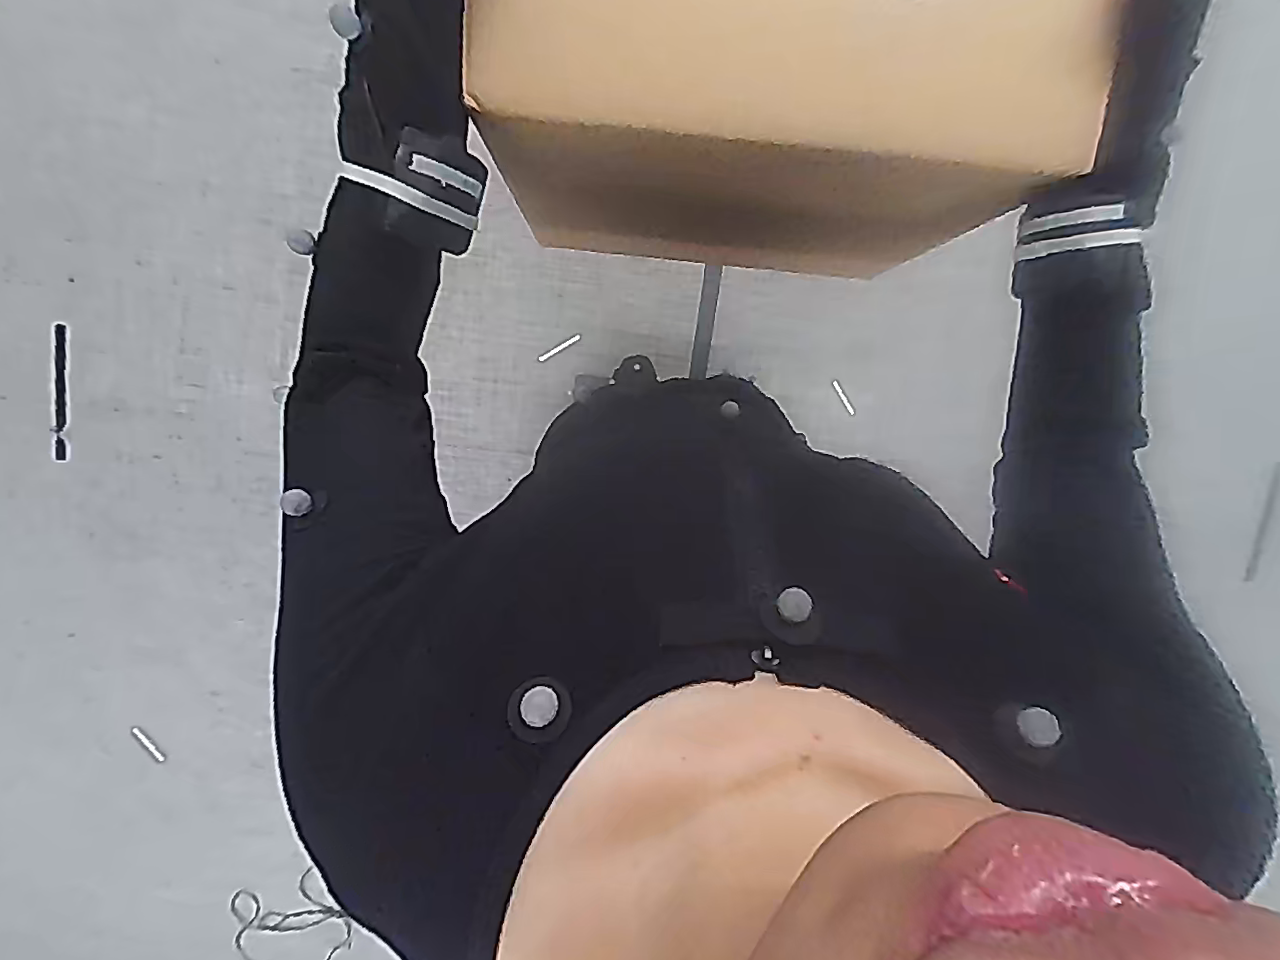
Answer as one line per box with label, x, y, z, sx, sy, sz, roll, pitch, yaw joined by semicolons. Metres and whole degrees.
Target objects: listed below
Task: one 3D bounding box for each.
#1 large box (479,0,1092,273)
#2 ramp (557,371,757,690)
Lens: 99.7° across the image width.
large box;0.094;-0.394;0.486;0.408;0.320;0.320;4;98;-3
ramp;0.024;0.198;1.603;0.509;0.206;0.991;4;99;-2
